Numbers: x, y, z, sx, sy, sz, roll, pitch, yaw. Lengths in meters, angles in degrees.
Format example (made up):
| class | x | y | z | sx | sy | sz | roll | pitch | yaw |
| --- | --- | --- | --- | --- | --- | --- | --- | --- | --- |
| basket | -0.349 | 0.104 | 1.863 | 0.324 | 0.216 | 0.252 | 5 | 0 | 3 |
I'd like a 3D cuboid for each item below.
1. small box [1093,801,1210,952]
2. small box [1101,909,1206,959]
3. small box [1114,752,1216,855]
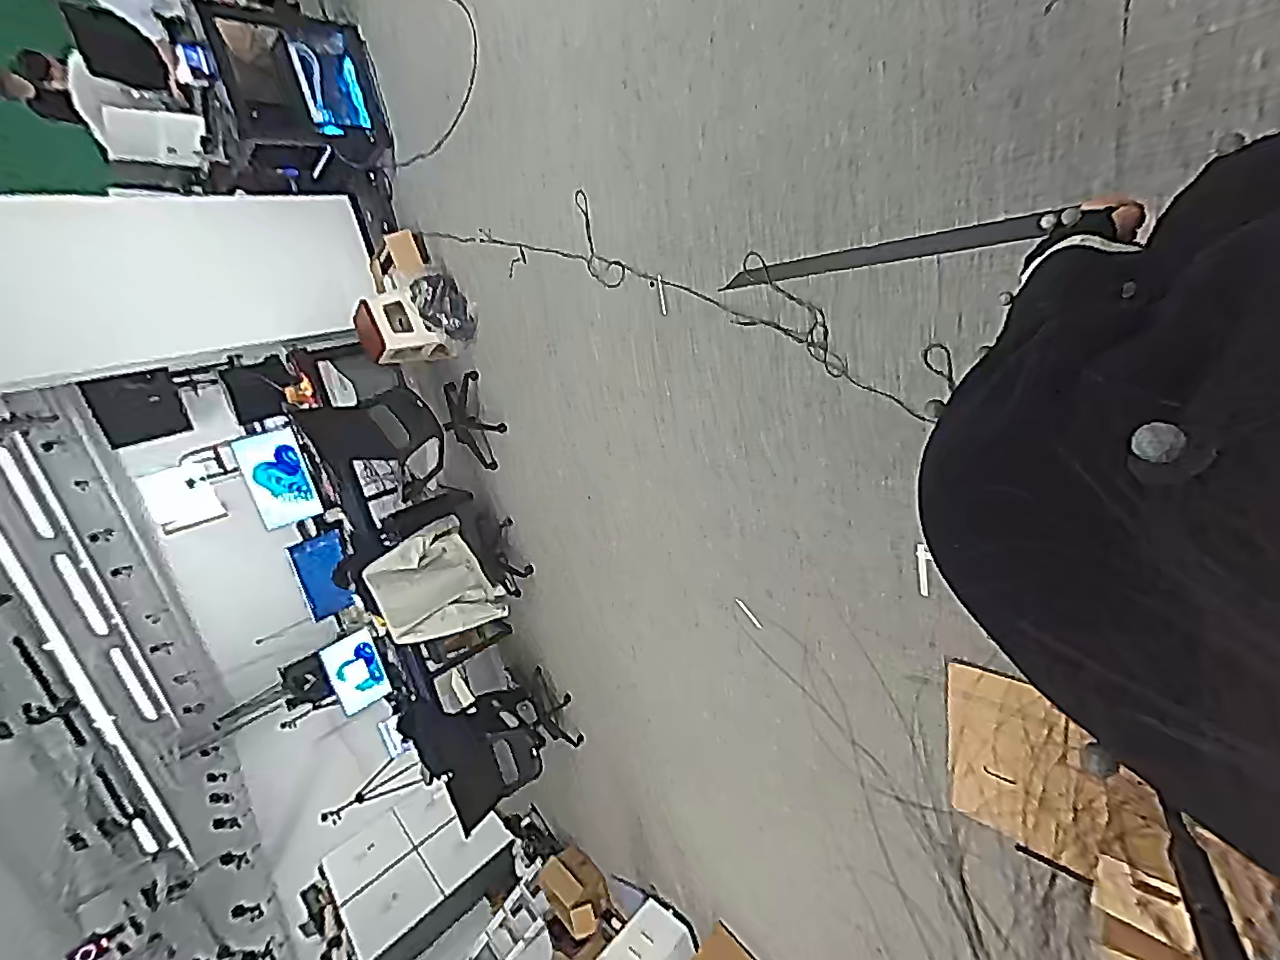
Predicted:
| class | x | y | z | sx | sy | sz | roll | pitch | yaw |
| --- | --- | --- | --- | --- | --- | --- | --- | --- | --- |
| small box | 1.139 | 0.869 | 1.206 | 0.168 | 0.176 | 0.179 | 11 | 119 | 46 |
| small box | 1.207 | 1.124 | 1.269 | 0.168 | 0.176 | 0.179 | 1 | 111 | 48 |
| small box | 1.256 | 0.801 | 1.300 | 0.168 | 0.176 | 0.179 | 7 | 116 | 48 |
